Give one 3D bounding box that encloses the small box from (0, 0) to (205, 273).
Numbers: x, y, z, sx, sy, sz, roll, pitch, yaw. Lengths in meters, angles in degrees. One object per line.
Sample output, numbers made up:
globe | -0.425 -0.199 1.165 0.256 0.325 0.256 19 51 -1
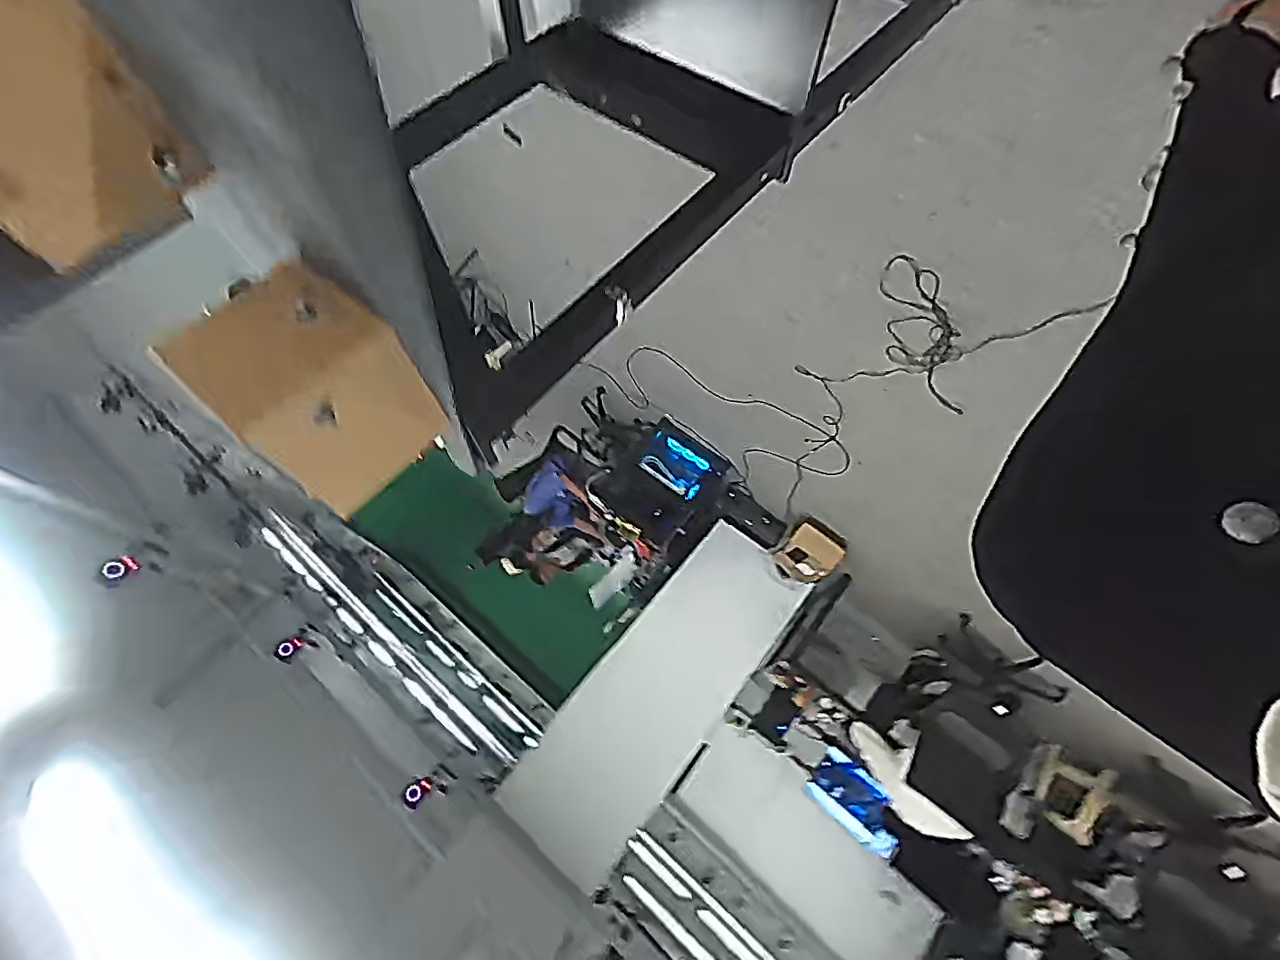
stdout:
small box | -0.550 -0.332 0.483 0.179 0.176 0.168 37 161 16
